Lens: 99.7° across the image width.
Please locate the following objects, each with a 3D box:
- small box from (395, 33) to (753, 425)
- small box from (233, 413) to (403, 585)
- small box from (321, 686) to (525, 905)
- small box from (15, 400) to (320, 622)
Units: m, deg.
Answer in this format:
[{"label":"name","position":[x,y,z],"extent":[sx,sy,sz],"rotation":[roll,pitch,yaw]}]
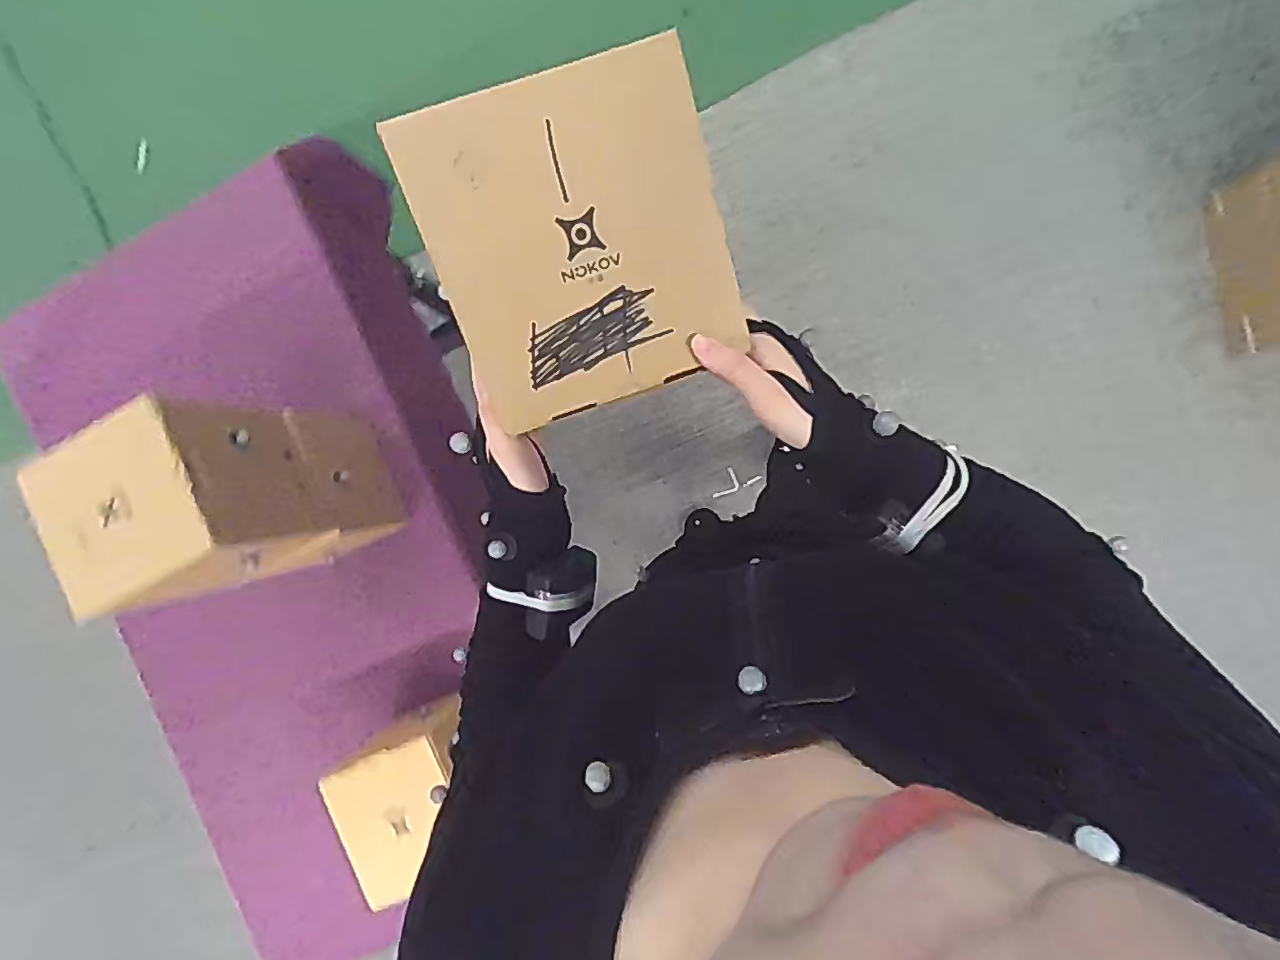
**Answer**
[{"label":"small box","position":[-0.038,-0.160,0.385],"extent":[0.168,0.176,0.179],"rotation":[-18,109,-3]},{"label":"small box","position":[-0.471,0.022,0.762],"extent":[0.168,0.176,0.179],"rotation":[-24,89,6]},{"label":"small box","position":[-0.285,0.421,0.750],"extent":[0.168,0.176,0.179],"rotation":[-26,87,7]},{"label":"small box","position":[-0.497,0.028,0.601],"extent":[0.179,0.176,0.168],"rotation":[-26,87,8]}]
